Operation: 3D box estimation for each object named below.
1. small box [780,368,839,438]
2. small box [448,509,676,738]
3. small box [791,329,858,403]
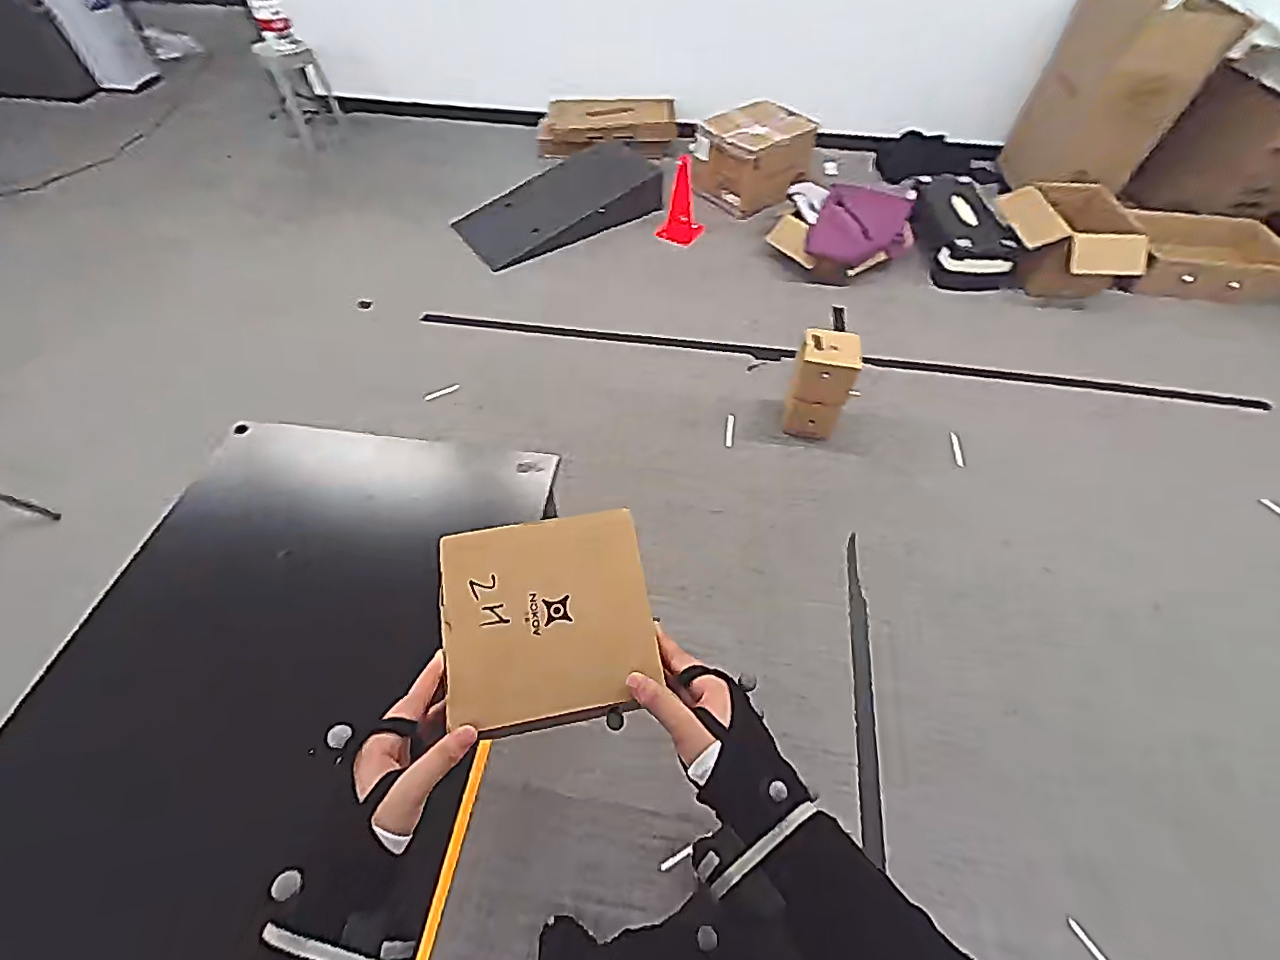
[{"bbox_3d":[0.597,-0.270,1.912,0.168,0.176,0.179,9,55,6],"label":"small box"},{"bbox_3d":[-0.072,0.144,0.520,0.179,0.176,0.168,-8,64,-6],"label":"small box"},{"bbox_3d":[0.601,-0.372,1.781,0.179,0.176,0.168,9,54,5],"label":"small box"}]
